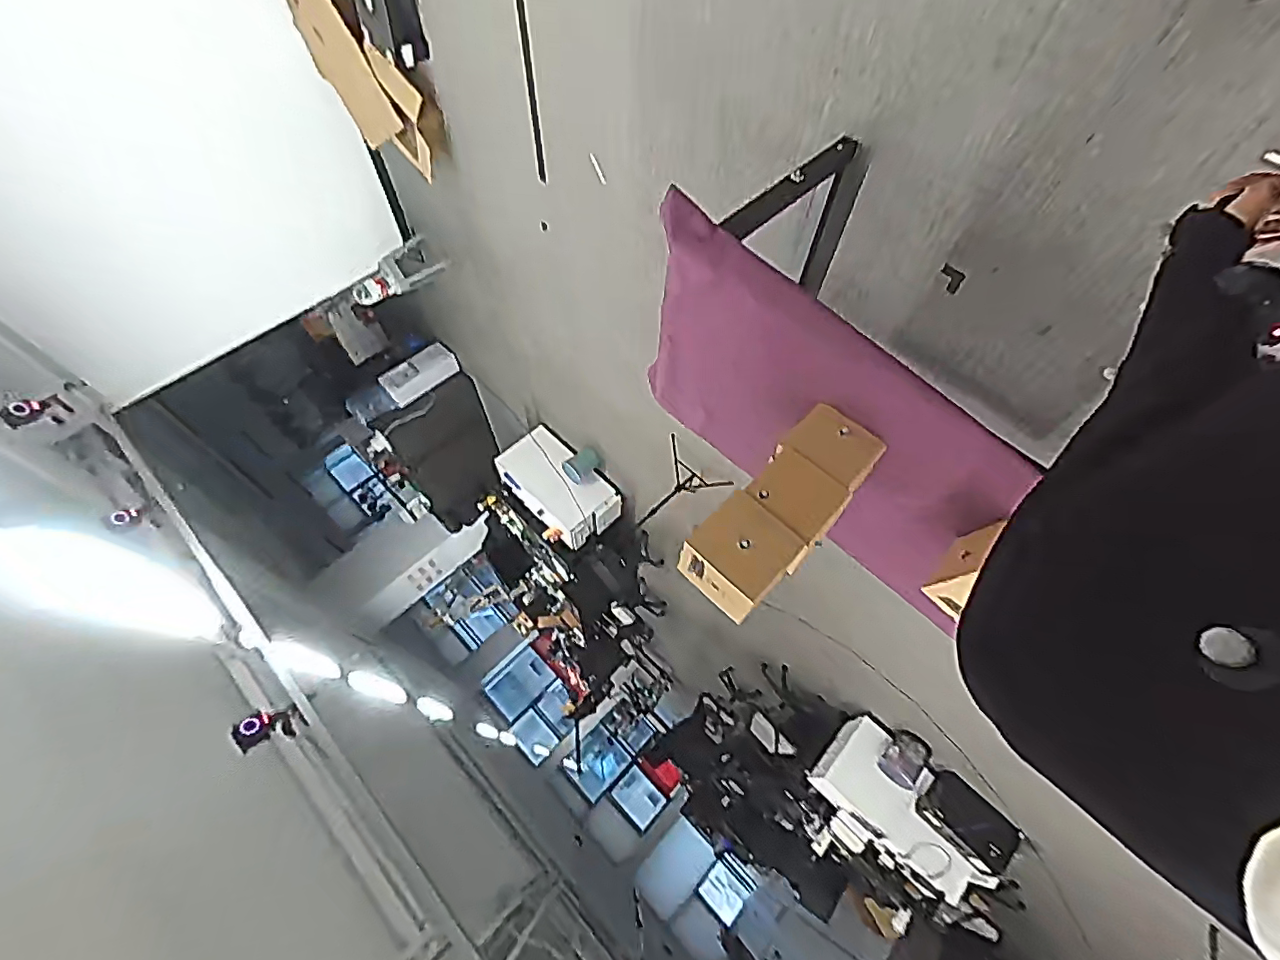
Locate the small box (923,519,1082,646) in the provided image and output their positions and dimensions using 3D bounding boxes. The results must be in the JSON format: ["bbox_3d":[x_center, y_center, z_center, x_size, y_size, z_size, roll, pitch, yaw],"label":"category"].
[{"bbox_3d":[0.724,0.208,1.085,0.168,0.176,0.179,45,158,10],"label":"small box"}]

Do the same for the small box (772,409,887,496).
[{"bbox_3d":[0.427,-0.038,1.250,0.179,0.176,0.168,41,159,21],"label":"small box"}]

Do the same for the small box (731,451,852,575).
[{"bbox_3d":[0.326,0.070,1.177,0.179,0.176,0.168,41,158,21],"label":"small box"}]
